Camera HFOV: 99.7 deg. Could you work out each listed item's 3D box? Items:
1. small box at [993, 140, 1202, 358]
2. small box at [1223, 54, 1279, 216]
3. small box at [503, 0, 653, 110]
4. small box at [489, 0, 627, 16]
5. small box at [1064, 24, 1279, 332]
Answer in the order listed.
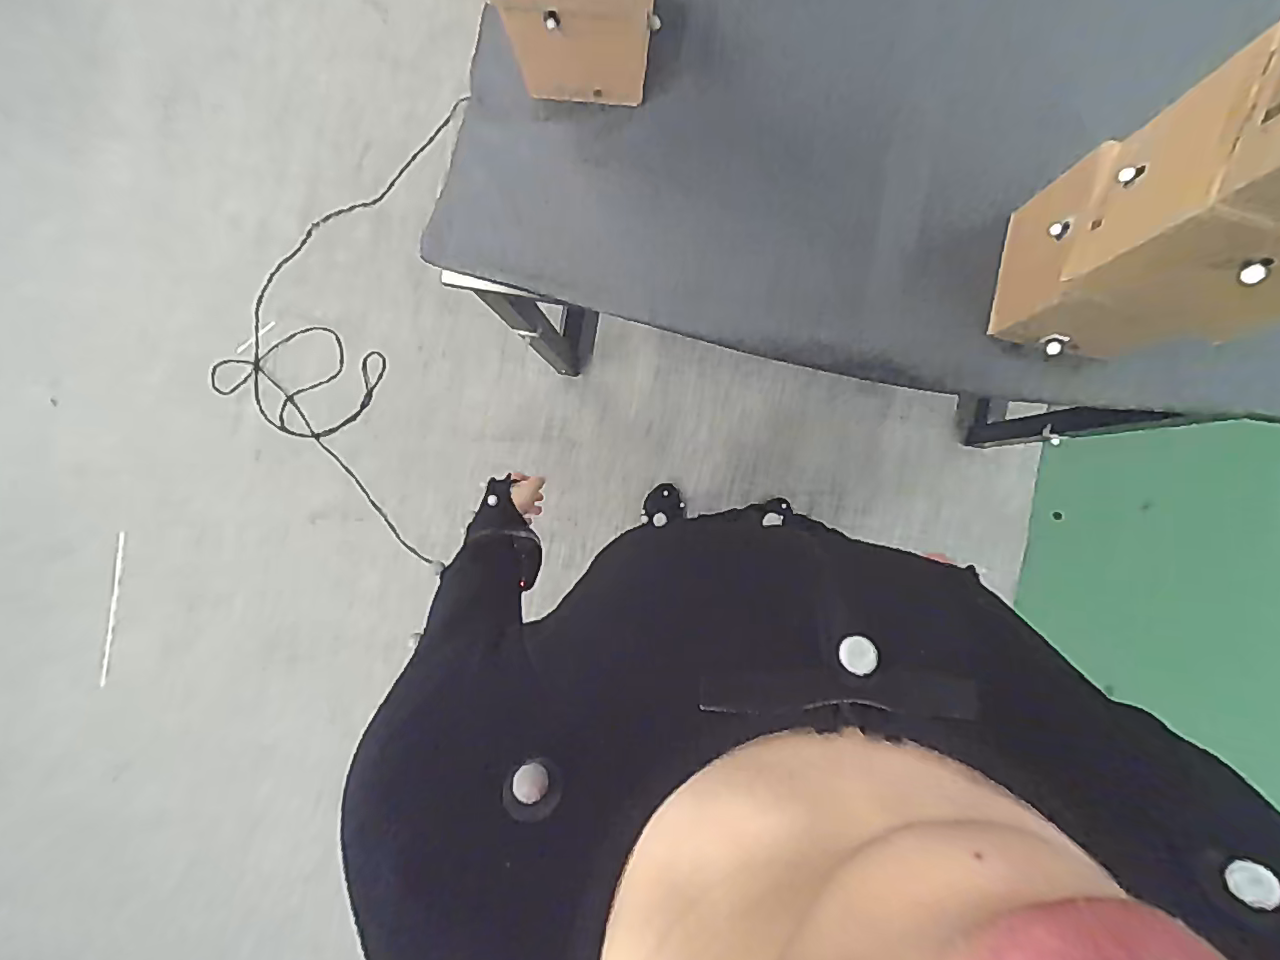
[{"bbox_3d":[0.566,-0.264,0.653,0.168,0.176,0.179,11,90,5],"label":"small box"},{"bbox_3d":[0.545,-0.258,0.326,0.179,0.176,0.168,24,90,5],"label":"small box"},{"bbox_3d":[-0.073,-0.625,0.696,0.168,0.176,0.179,7,91,3],"label":"small box"},{"bbox_3d":[-0.085,-0.608,0.532,0.179,0.176,0.168,7,91,4],"label":"small box"},{"bbox_3d":[0.552,-0.252,0.491,0.179,0.176,0.168,22,90,5],"label":"small box"}]
